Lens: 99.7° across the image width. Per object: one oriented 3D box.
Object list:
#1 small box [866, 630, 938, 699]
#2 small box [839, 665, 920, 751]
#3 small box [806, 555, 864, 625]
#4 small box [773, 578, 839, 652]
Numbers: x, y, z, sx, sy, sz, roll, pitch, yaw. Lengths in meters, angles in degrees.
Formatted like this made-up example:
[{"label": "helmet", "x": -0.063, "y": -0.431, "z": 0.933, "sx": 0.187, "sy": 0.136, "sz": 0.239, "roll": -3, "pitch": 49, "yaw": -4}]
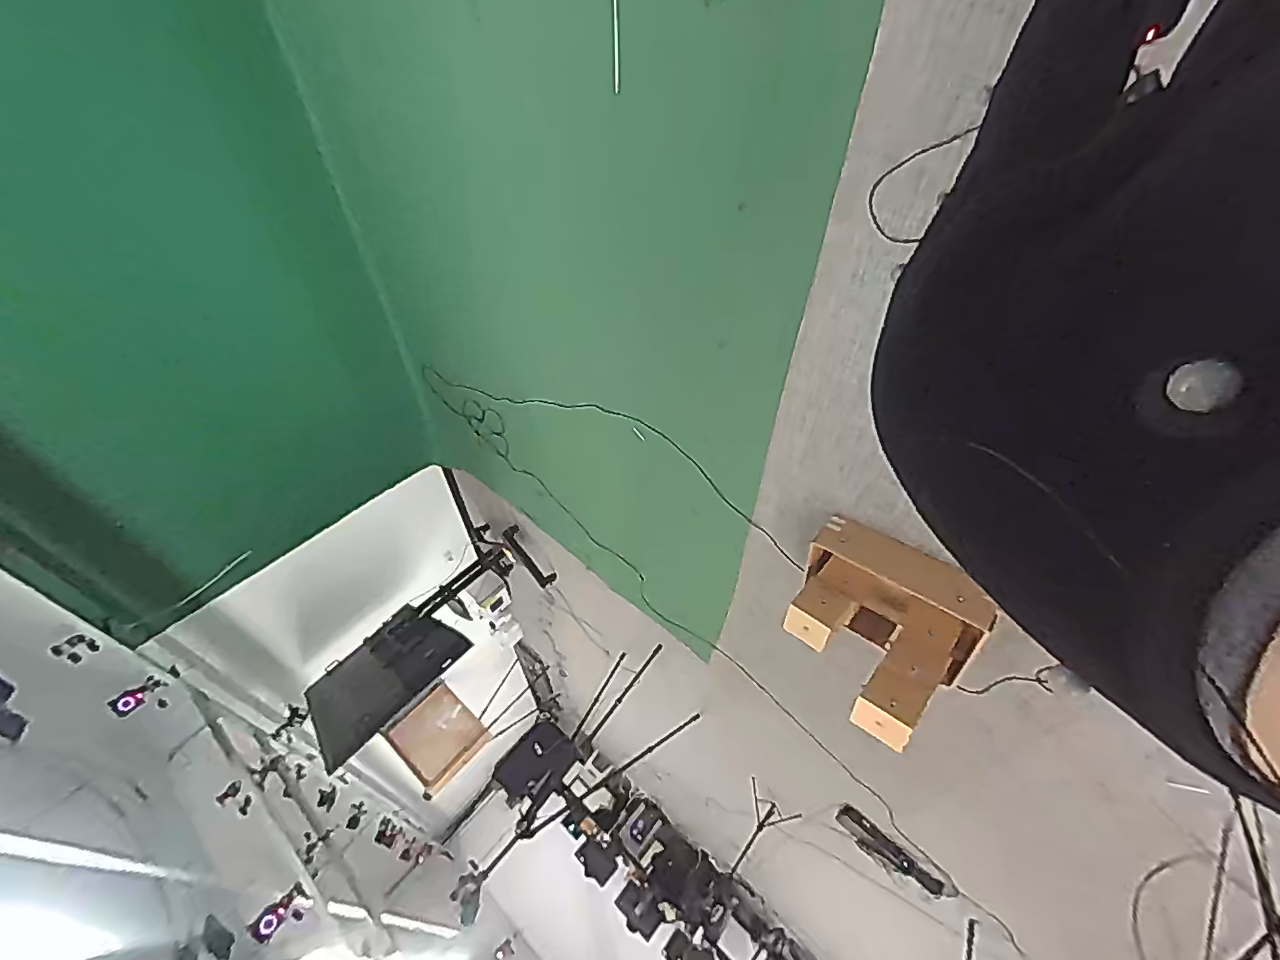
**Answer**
[{"label": "small box", "x": 0.894, "y": 0.655, "z": 1.866, "sx": 0.179, "sy": 0.176, "sz": 0.168, "roll": 32, "pitch": 142, "yaw": 28}, {"label": "small box", "x": 0.787, "y": 0.739, "z": 1.778, "sx": 0.179, "sy": 0.176, "sz": 0.168, "roll": 27, "pitch": 139, "yaw": 31}, {"label": "small box", "x": 0.747, "y": 0.424, "z": 2.119, "sx": 0.179, "sy": 0.176, "sz": 0.168, "roll": 31, "pitch": 143, "yaw": 27}, {"label": "small box", "x": 0.628, "y": 0.504, "z": 2.037, "sx": 0.168, "sy": 0.176, "sz": 0.179, "roll": 32, "pitch": 144, "yaw": 28}]
